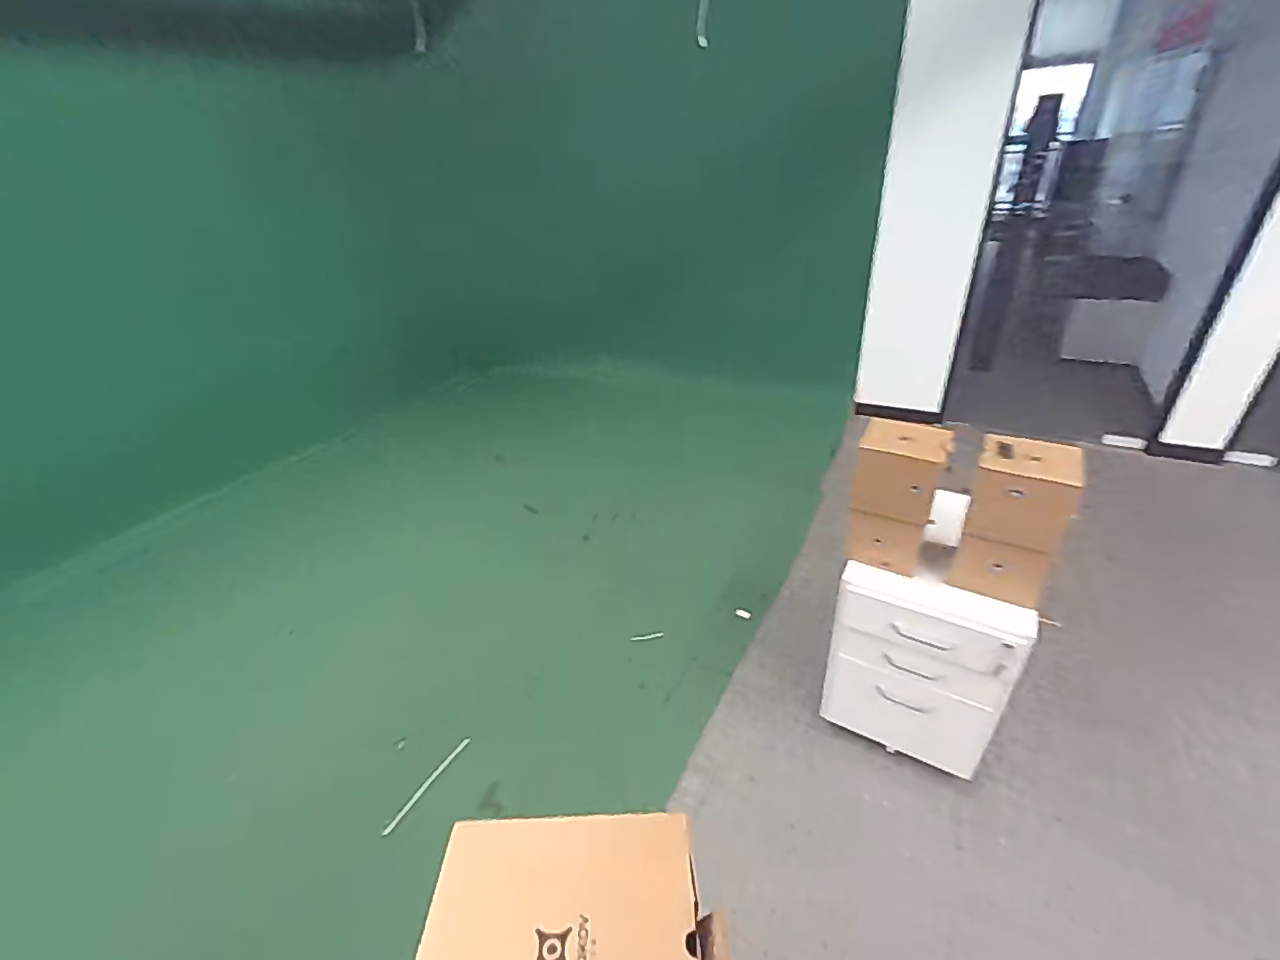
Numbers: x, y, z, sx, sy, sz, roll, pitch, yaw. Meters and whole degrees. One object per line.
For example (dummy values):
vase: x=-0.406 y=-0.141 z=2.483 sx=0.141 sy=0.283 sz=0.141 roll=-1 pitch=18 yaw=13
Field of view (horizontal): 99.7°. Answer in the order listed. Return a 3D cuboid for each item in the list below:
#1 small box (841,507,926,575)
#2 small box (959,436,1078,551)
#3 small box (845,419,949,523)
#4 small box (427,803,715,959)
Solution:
small box: x=0.615 y=0.109 z=1.357 sx=0.168 sy=0.176 sz=0.179 roll=17 pitch=38 yaw=28
small box: x=0.801 y=0.027 z=1.154 sx=0.179 sy=0.176 sz=0.168 roll=16 pitch=38 yaw=31
small box: x=0.596 y=-0.020 z=1.260 sx=0.179 sy=0.176 sz=0.168 roll=15 pitch=36 yaw=28
small box: x=-0.040 y=0.353 z=0.366 sx=0.179 sy=0.176 sz=0.168 roll=-1 pitch=25 yaw=-1
